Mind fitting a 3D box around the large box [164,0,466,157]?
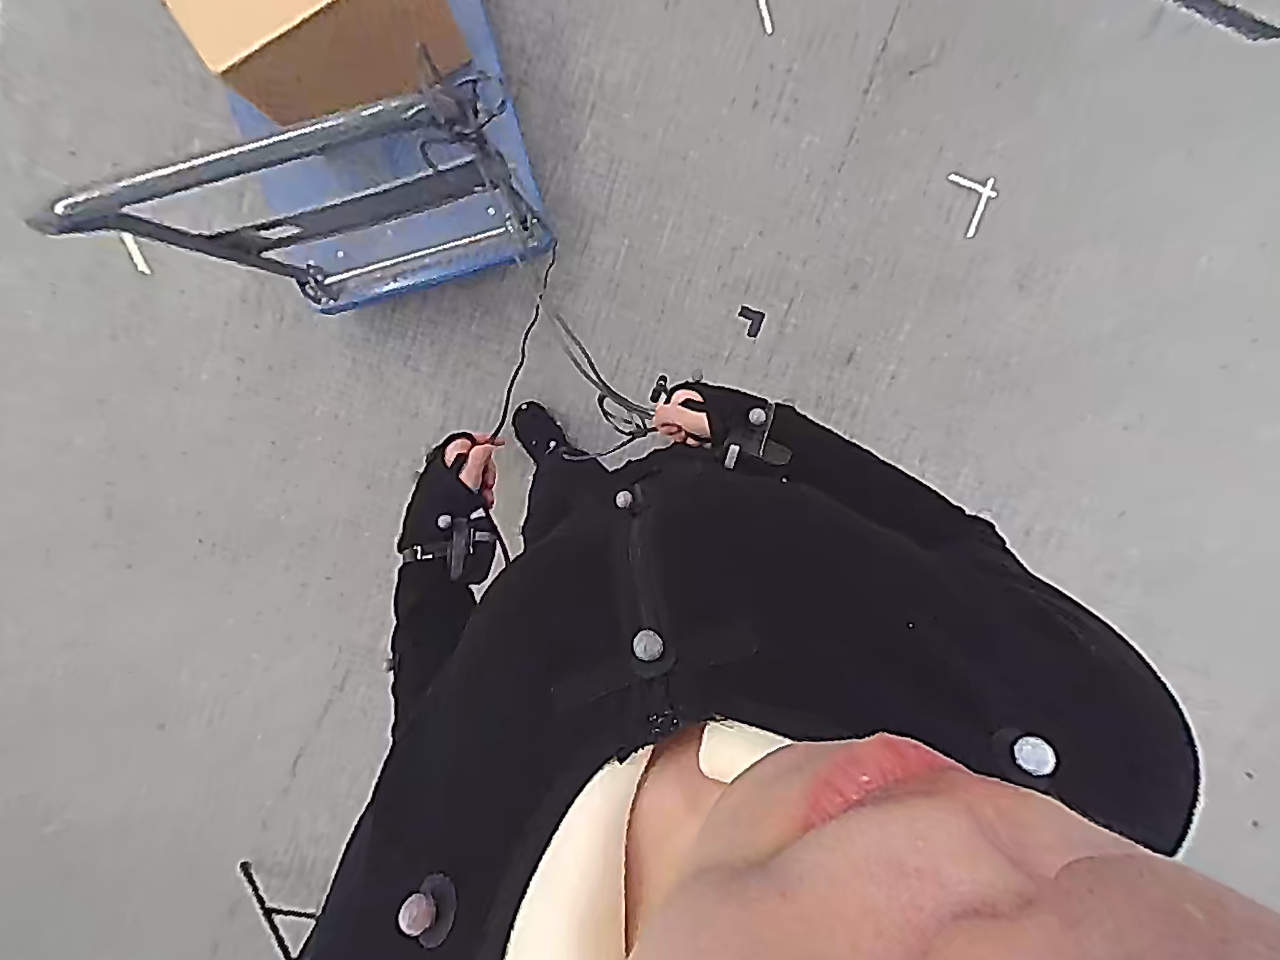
[{"bbox_3d":[-0.604,-0.898,0.992,0.408,0.320,0.320,-30,100,2],"label":"large box"}]
